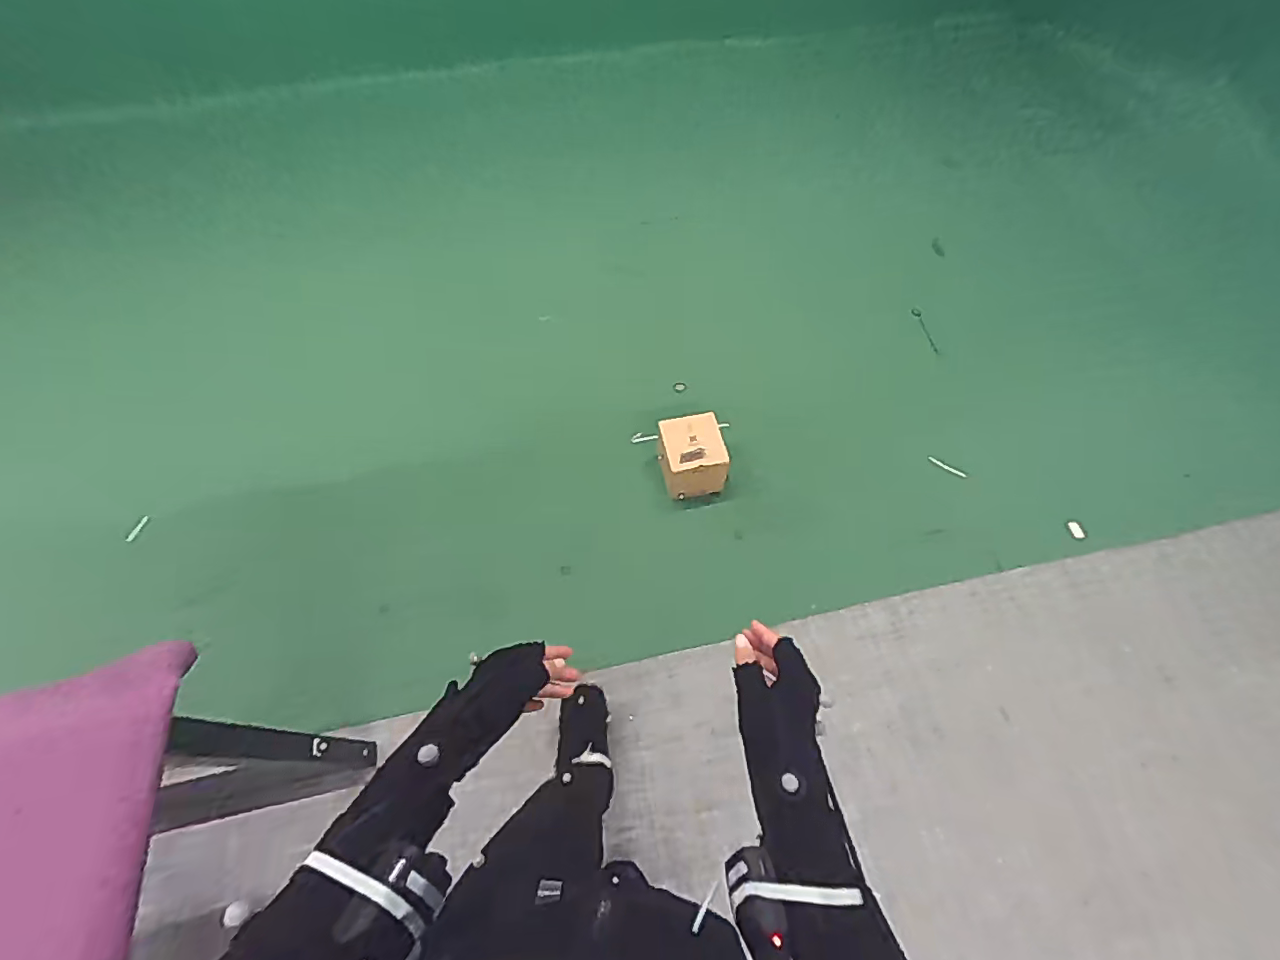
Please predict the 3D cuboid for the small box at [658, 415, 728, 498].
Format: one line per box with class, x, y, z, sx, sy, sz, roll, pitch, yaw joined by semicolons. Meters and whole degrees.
small box;0.149;-0.060;1.581;0.168;0.176;0.179;-10;60;-6
